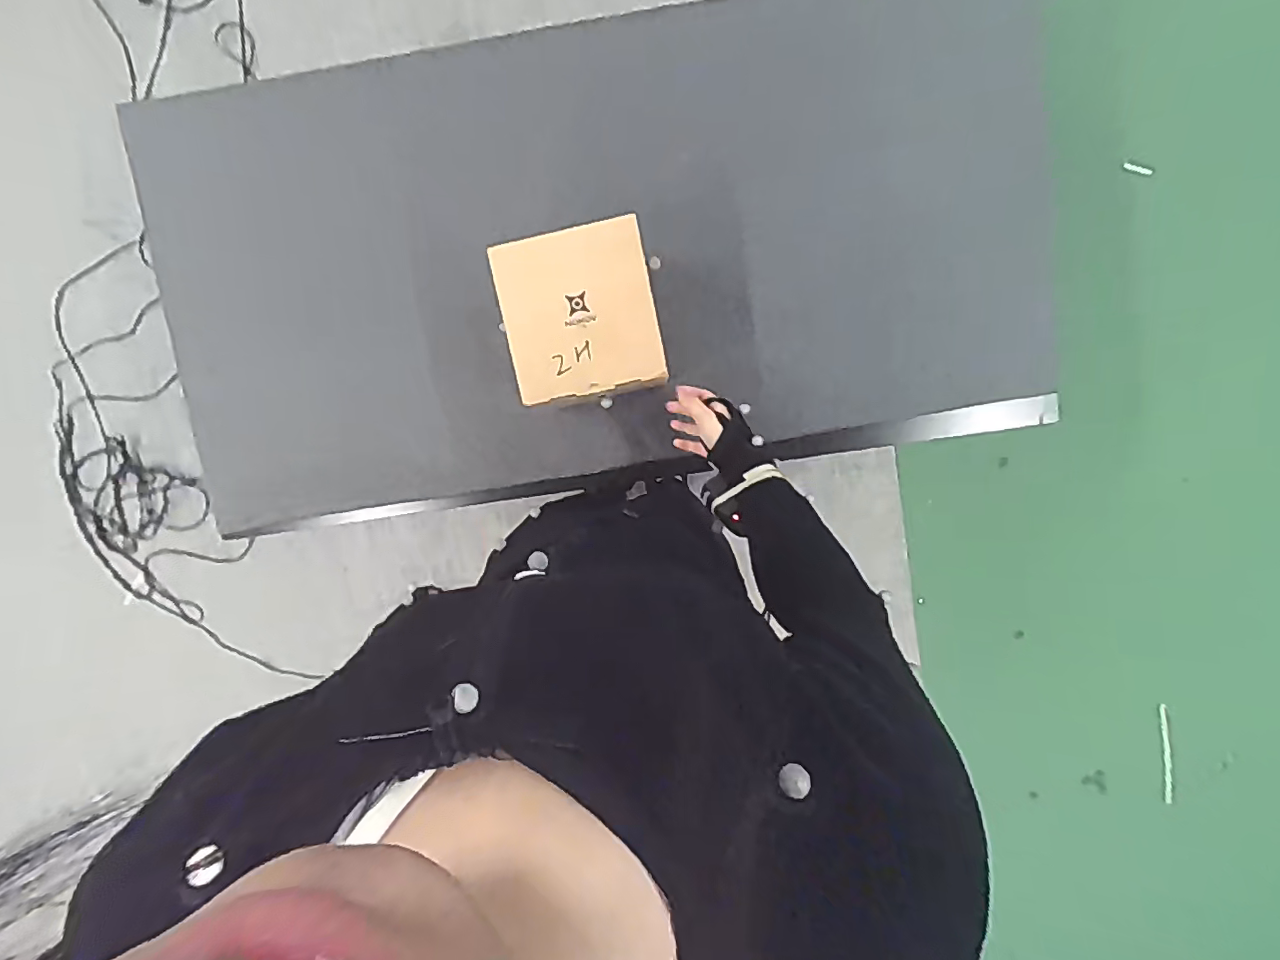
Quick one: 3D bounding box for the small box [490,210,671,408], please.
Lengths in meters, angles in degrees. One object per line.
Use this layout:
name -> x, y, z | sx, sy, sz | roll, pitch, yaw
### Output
small box -> -0.061, -0.190, 0.651 | 0.168, 0.176, 0.179 | -12, 95, 3
